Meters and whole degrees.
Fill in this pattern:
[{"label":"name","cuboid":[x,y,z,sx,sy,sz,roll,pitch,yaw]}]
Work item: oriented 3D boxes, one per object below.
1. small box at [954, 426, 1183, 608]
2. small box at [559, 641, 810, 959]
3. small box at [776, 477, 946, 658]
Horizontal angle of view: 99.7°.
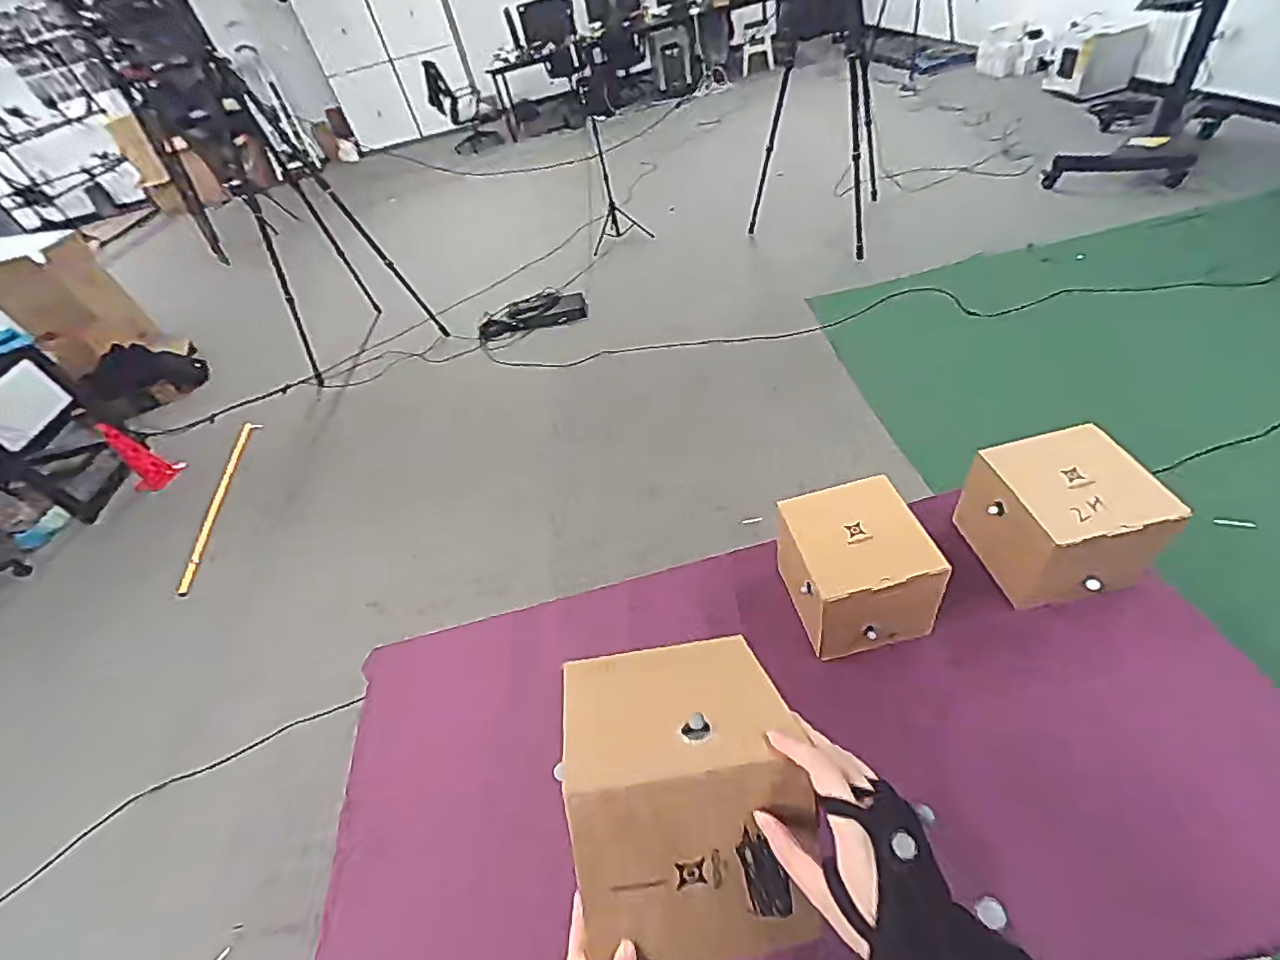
[{"label":"small box","cuboid":[0.584,0.055,0.773,0.168,0.176,0.179,-14,47,3]},{"label":"small box","cuboid":[0.027,0.256,0.463,0.179,0.168,0.176,-7,12,-6]},{"label":"small box","cuboid":[0.305,0.129,0.790,0.168,0.176,0.179,-15,45,1]}]
